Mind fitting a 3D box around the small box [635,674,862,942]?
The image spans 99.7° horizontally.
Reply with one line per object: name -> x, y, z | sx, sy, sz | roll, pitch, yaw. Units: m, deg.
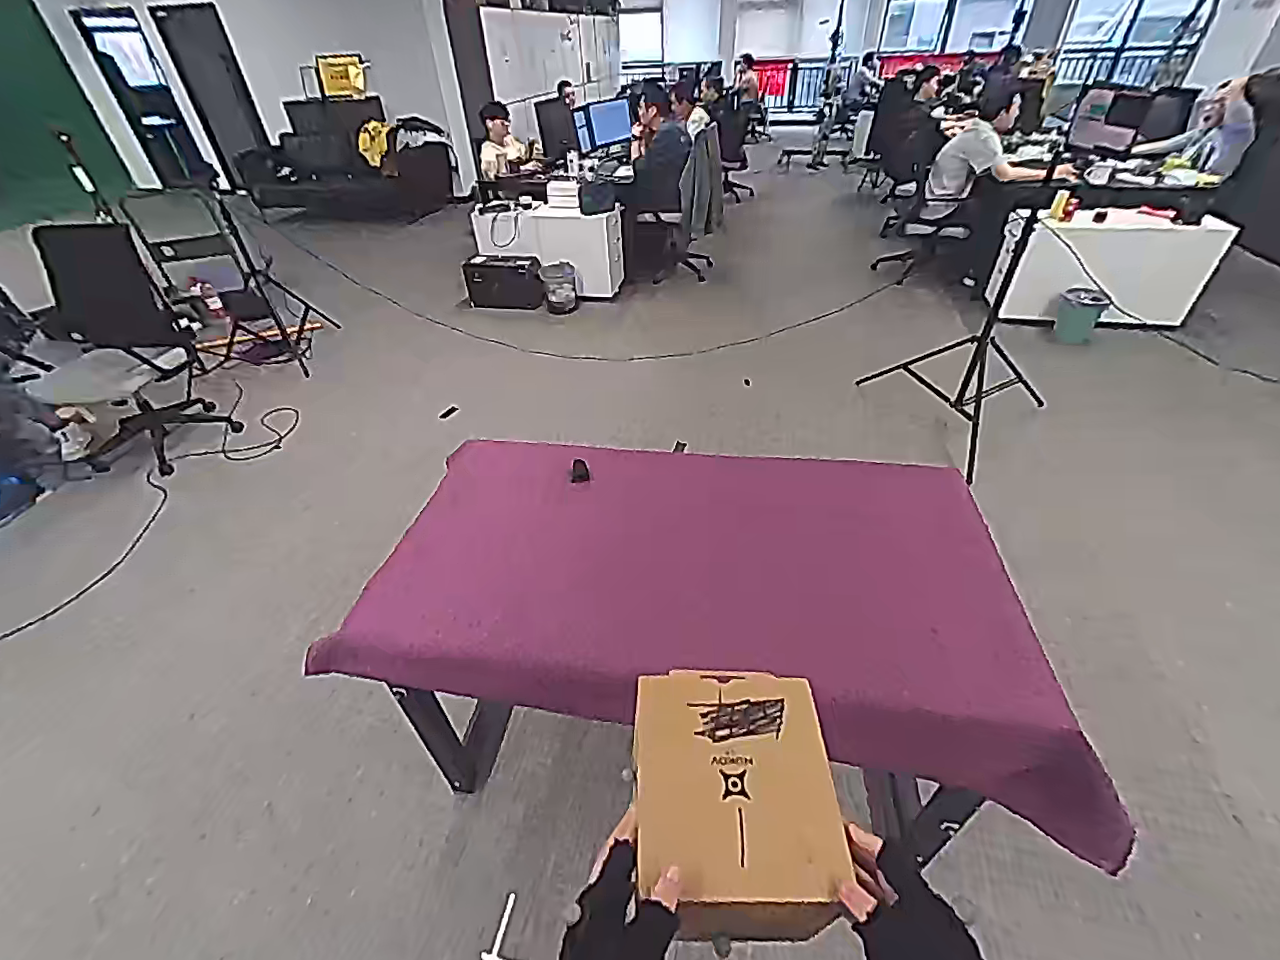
small box -> 0.080, 0.306, 0.510 | 0.168, 0.176, 0.179 | 0, 42, -1
